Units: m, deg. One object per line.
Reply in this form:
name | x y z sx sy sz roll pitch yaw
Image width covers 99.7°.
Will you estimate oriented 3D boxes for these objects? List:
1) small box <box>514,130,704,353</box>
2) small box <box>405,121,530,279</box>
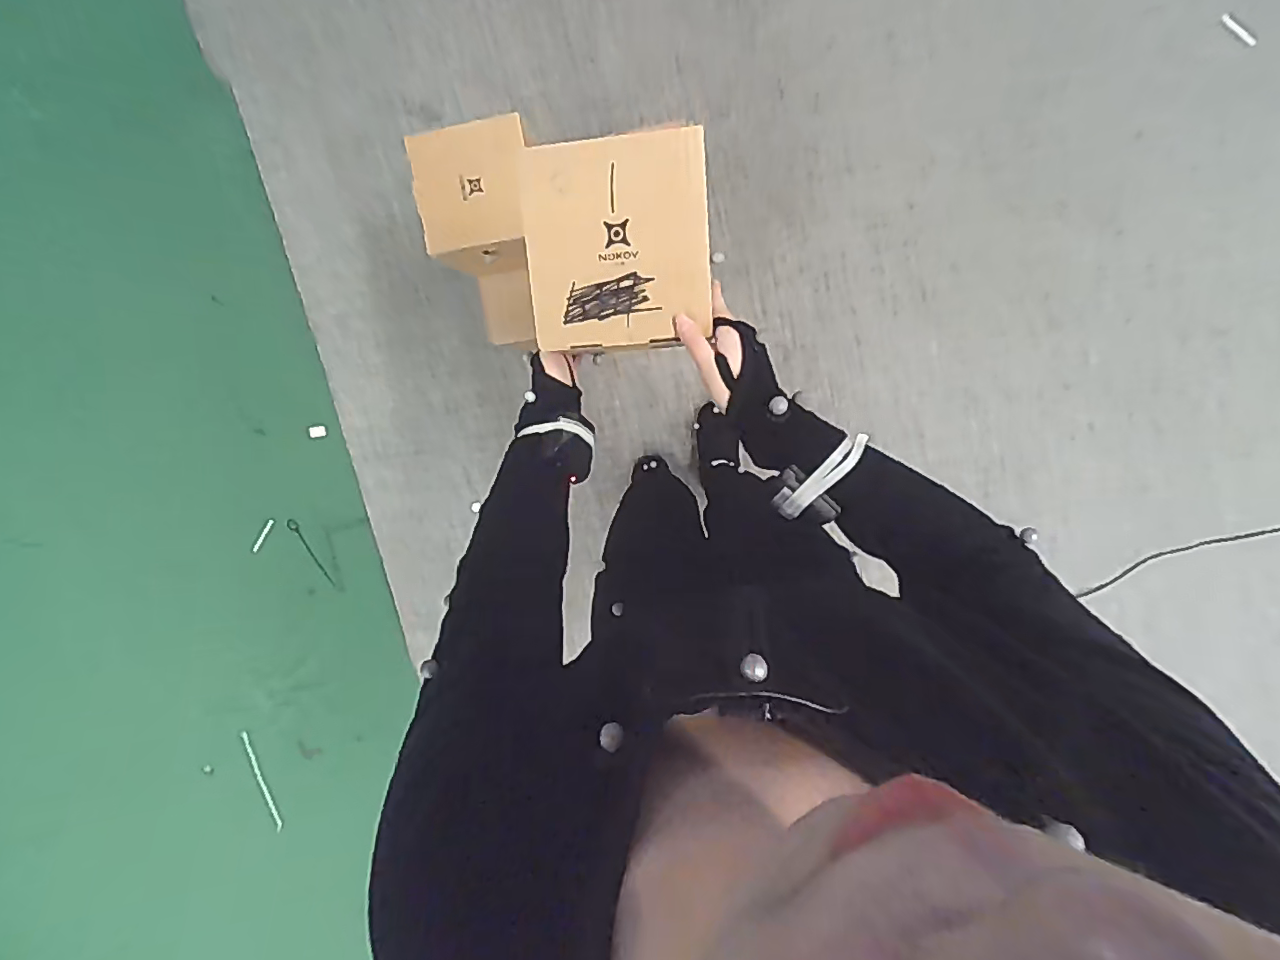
small box | -0.018 -0.227 0.564 0.168 0.176 0.179 -3 100 6
small box | -0.237 -0.431 0.861 0.179 0.176 0.168 -7 99 7
